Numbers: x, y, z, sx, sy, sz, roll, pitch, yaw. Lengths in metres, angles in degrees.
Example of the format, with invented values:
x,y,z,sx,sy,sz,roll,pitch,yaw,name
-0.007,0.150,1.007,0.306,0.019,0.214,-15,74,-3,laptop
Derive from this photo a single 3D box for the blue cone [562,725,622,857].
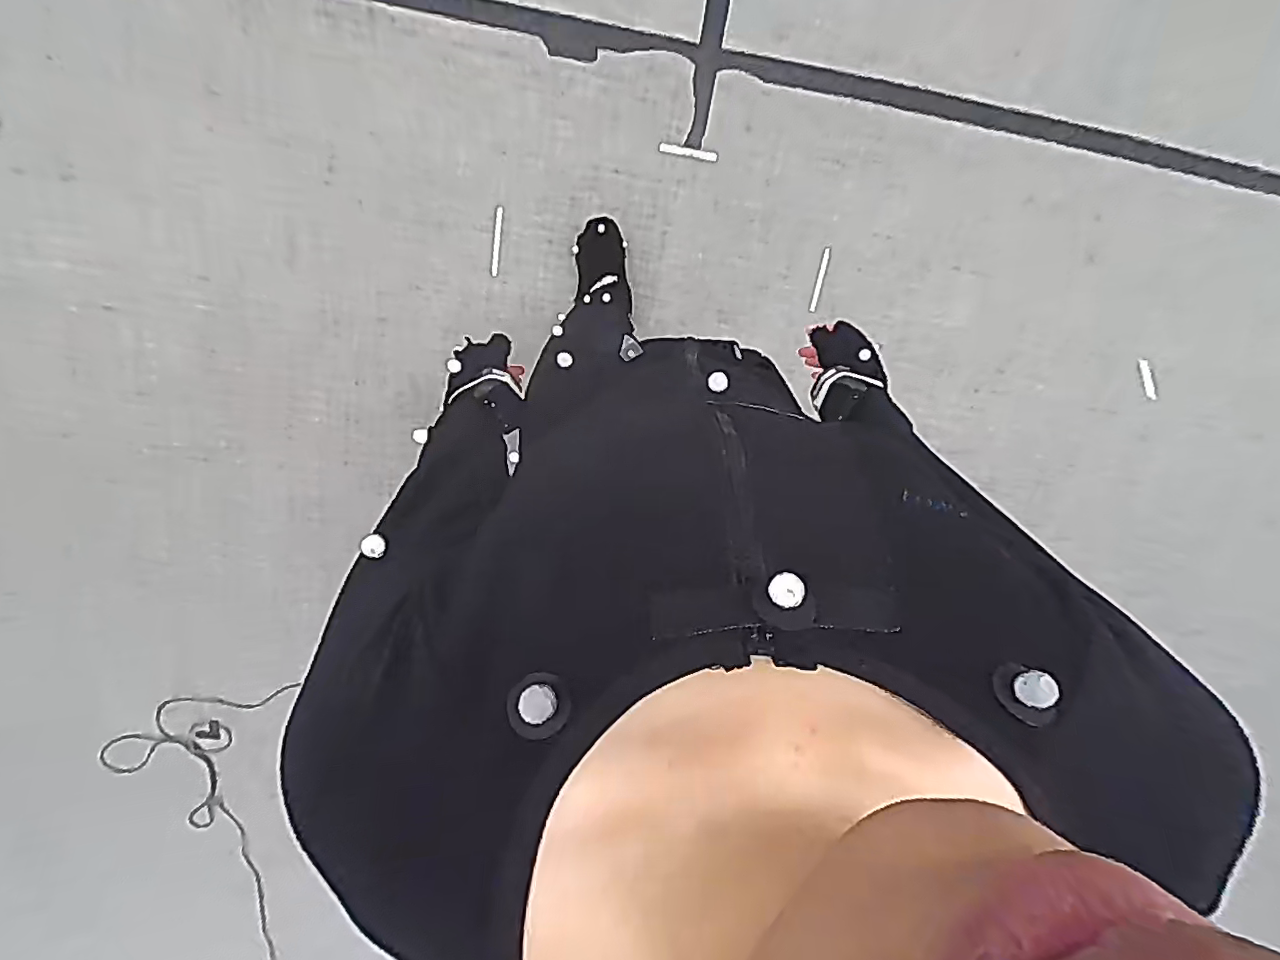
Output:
x,y,z,sx,sy,sz,roll,pitch,yaw,name
-0.139,0.929,1.606,0.192,0.380,0.193,4,108,-8,blue cone
